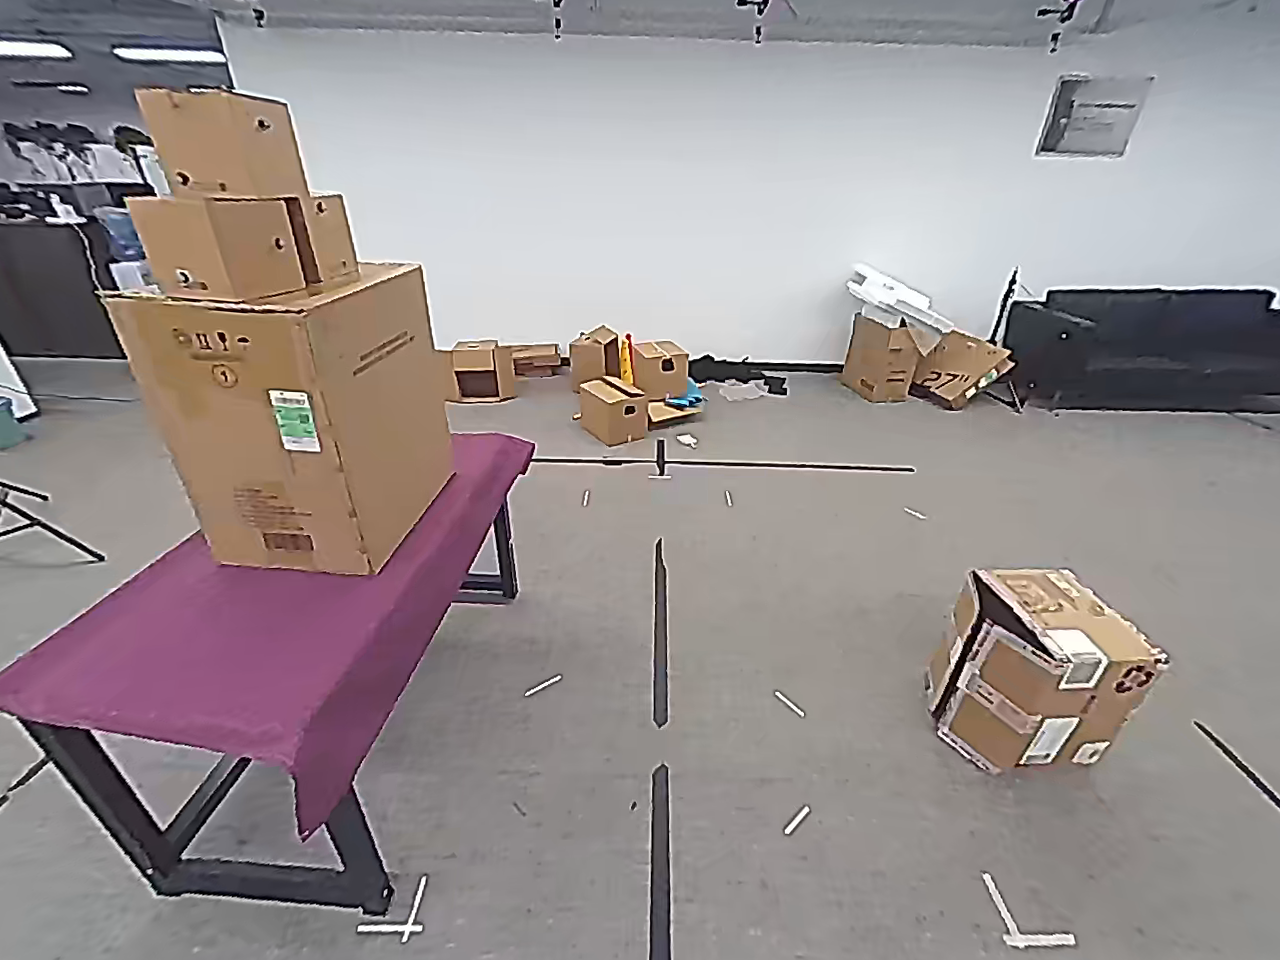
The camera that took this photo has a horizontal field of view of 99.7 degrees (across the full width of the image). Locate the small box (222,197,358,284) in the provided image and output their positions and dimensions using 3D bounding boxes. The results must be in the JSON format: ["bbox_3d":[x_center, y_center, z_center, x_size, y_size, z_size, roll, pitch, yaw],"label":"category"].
[{"bbox_3d":[-0.781,-0.544,1.226,0.179,0.176,0.168,2,30,3],"label":"small box"}]

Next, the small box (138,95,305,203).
[{"bbox_3d":[-0.787,-0.630,1.043,0.168,0.176,0.179,2,28,1],"label":"small box"}]
